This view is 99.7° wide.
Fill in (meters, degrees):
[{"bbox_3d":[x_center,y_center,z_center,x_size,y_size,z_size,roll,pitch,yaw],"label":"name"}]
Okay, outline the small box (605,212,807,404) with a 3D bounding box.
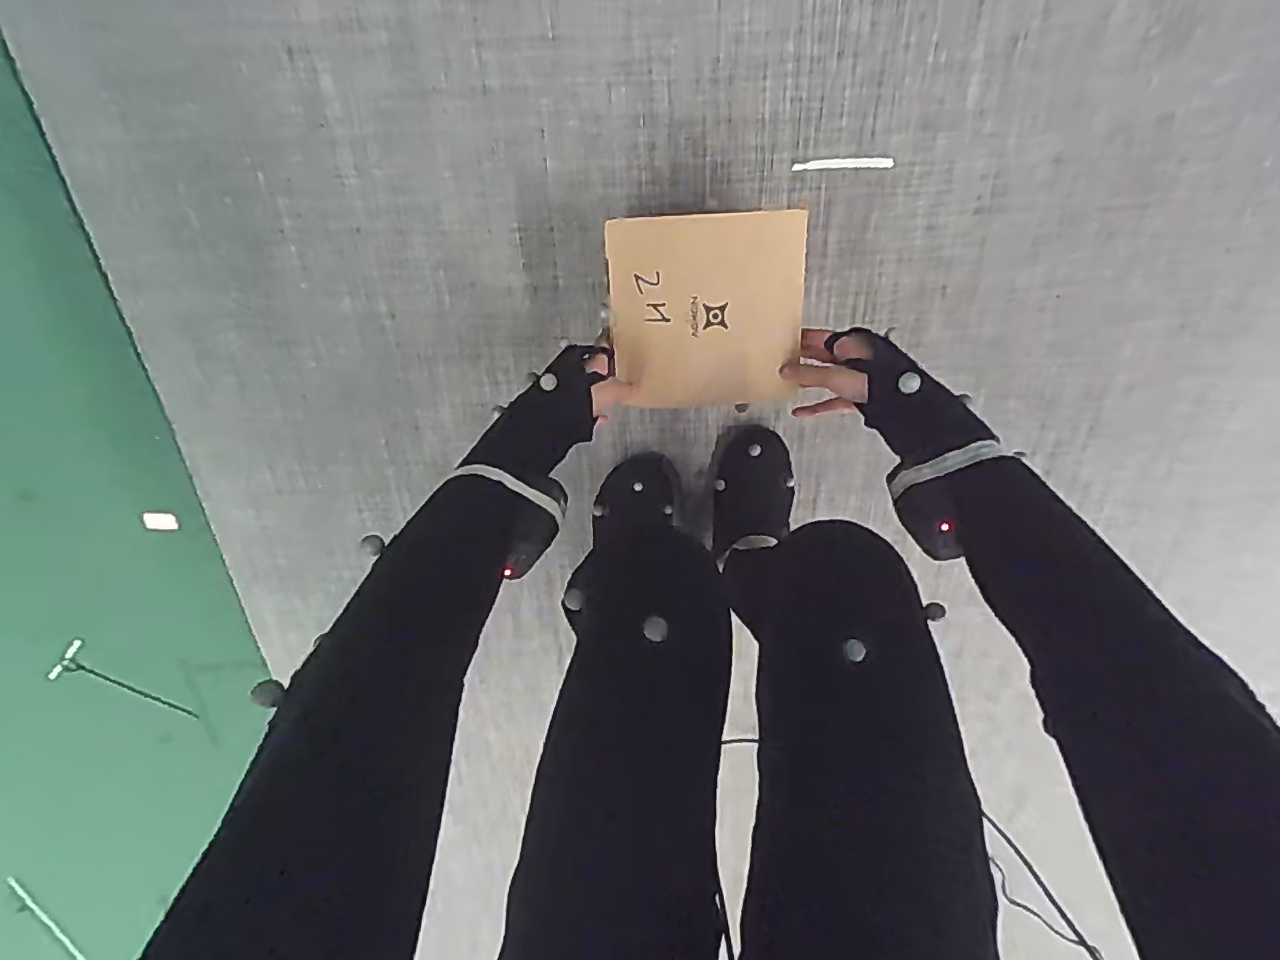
[{"bbox_3d":[0.057,-0.178,0.560,0.179,0.176,0.168,-2,110,1],"label":"small box"}]
